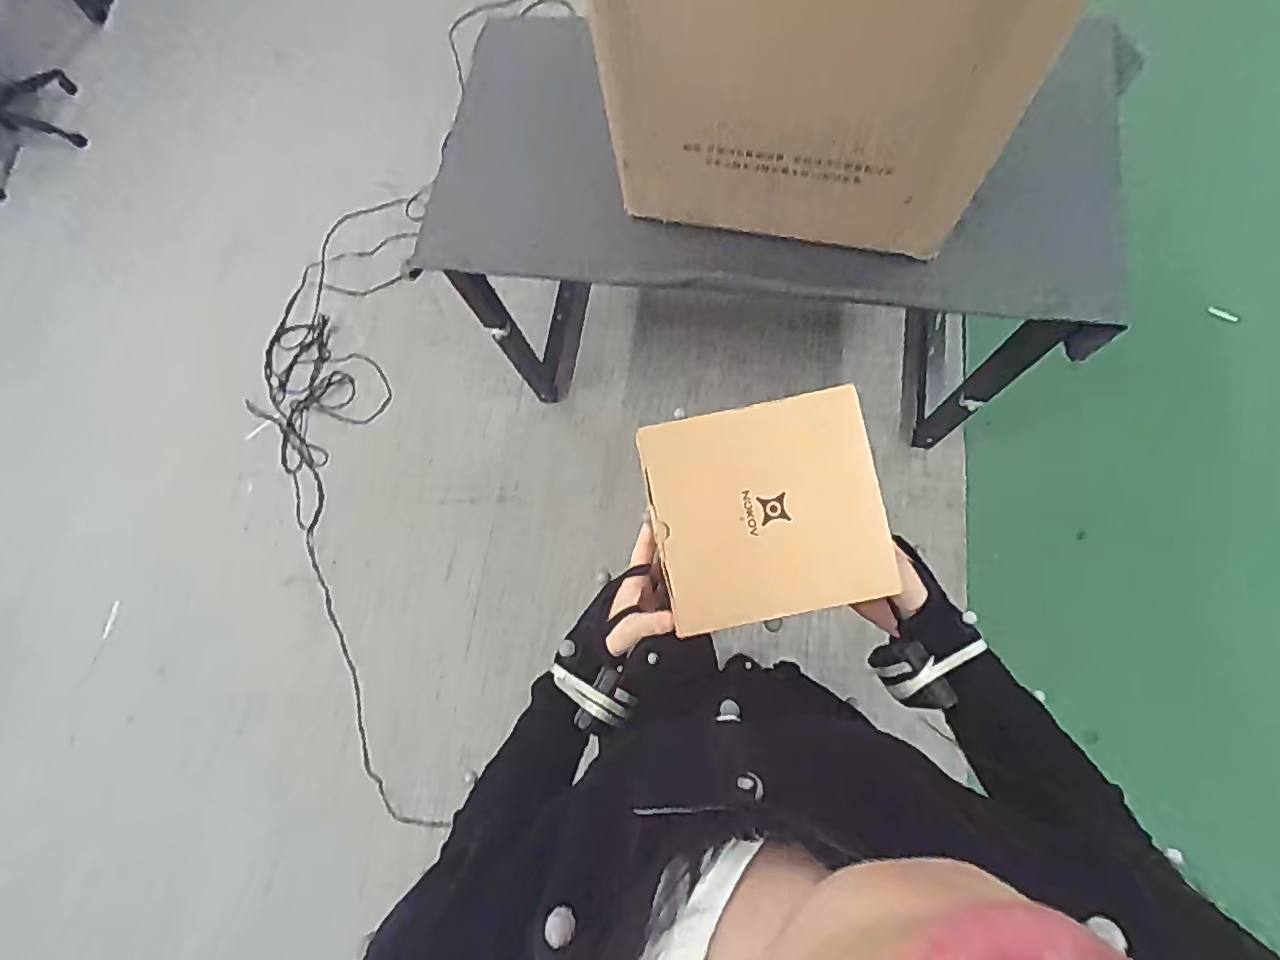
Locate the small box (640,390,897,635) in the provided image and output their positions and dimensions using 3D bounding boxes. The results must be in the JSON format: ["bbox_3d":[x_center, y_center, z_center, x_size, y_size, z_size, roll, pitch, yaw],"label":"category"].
[{"bbox_3d":[0.101,0.028,0.502,0.179,0.176,0.168,-12,86,1],"label":"small box"}]
